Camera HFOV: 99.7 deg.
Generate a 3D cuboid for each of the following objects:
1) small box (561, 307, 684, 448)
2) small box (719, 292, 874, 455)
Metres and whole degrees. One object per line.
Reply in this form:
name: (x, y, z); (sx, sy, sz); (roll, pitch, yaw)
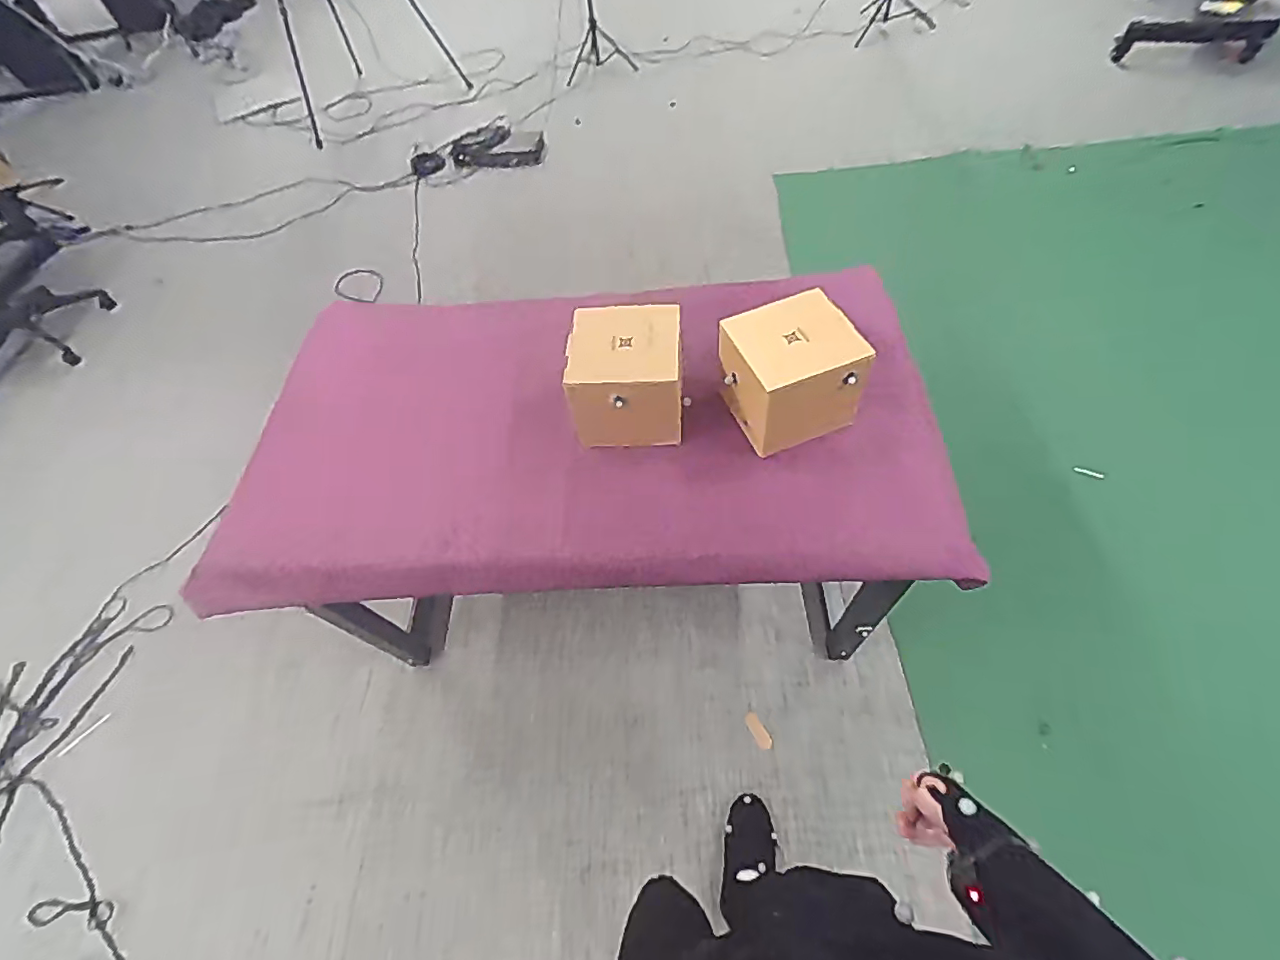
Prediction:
small box: (-0.018, -0.166, 0.904); (0.179, 0.176, 0.168); (1, 58, 6)
small box: (0.239, -0.165, 0.874); (0.179, 0.176, 0.168); (-19, 57, -7)
